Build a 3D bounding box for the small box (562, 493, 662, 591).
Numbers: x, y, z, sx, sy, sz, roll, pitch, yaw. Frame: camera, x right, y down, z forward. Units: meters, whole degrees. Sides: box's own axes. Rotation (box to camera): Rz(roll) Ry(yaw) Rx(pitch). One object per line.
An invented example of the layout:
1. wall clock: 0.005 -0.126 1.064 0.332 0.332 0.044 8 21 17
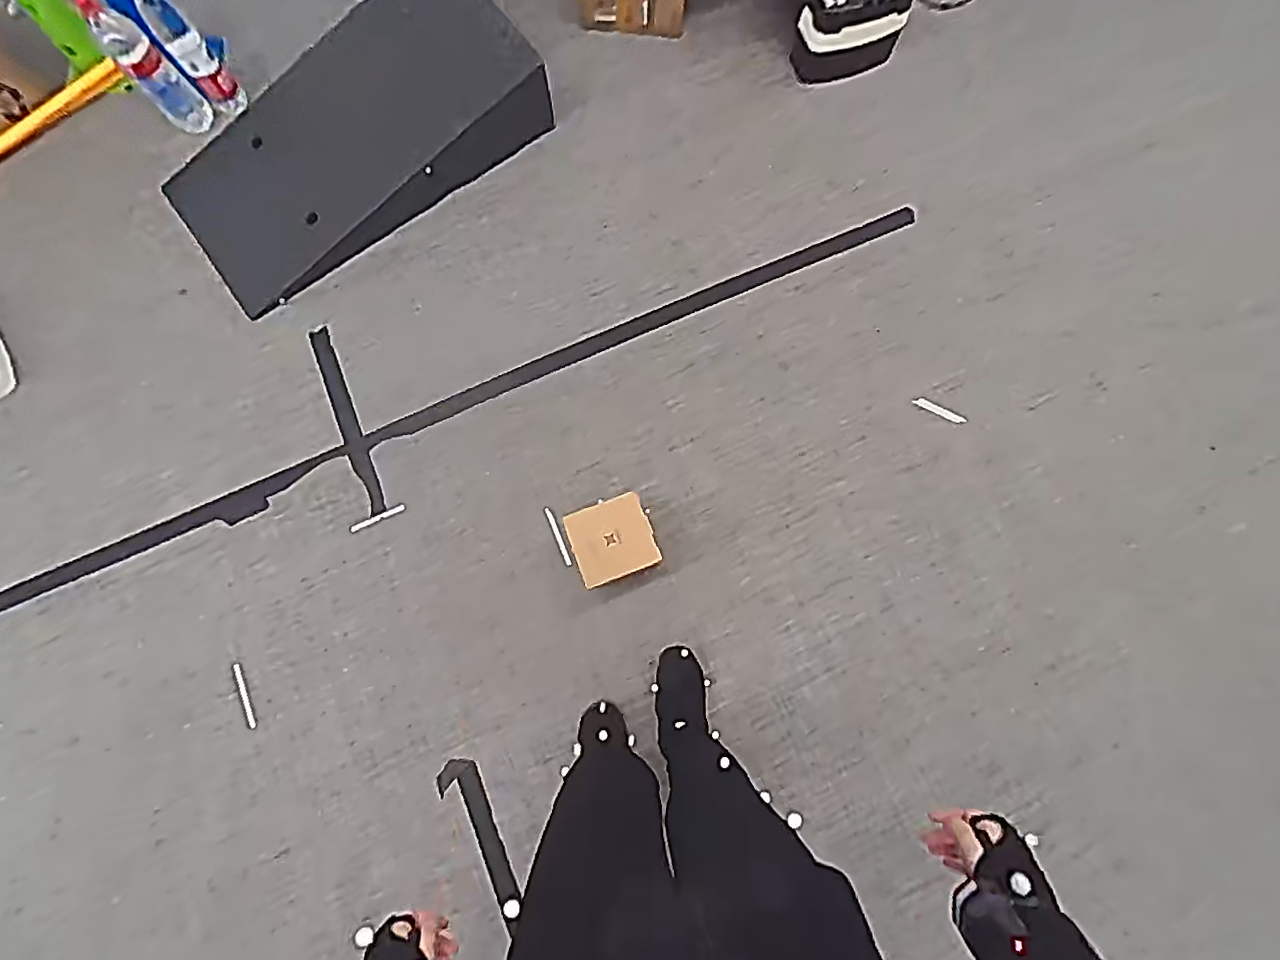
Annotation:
1. small box: -0.061 0.142 1.228 0.179 0.176 0.168 -20 80 -3
